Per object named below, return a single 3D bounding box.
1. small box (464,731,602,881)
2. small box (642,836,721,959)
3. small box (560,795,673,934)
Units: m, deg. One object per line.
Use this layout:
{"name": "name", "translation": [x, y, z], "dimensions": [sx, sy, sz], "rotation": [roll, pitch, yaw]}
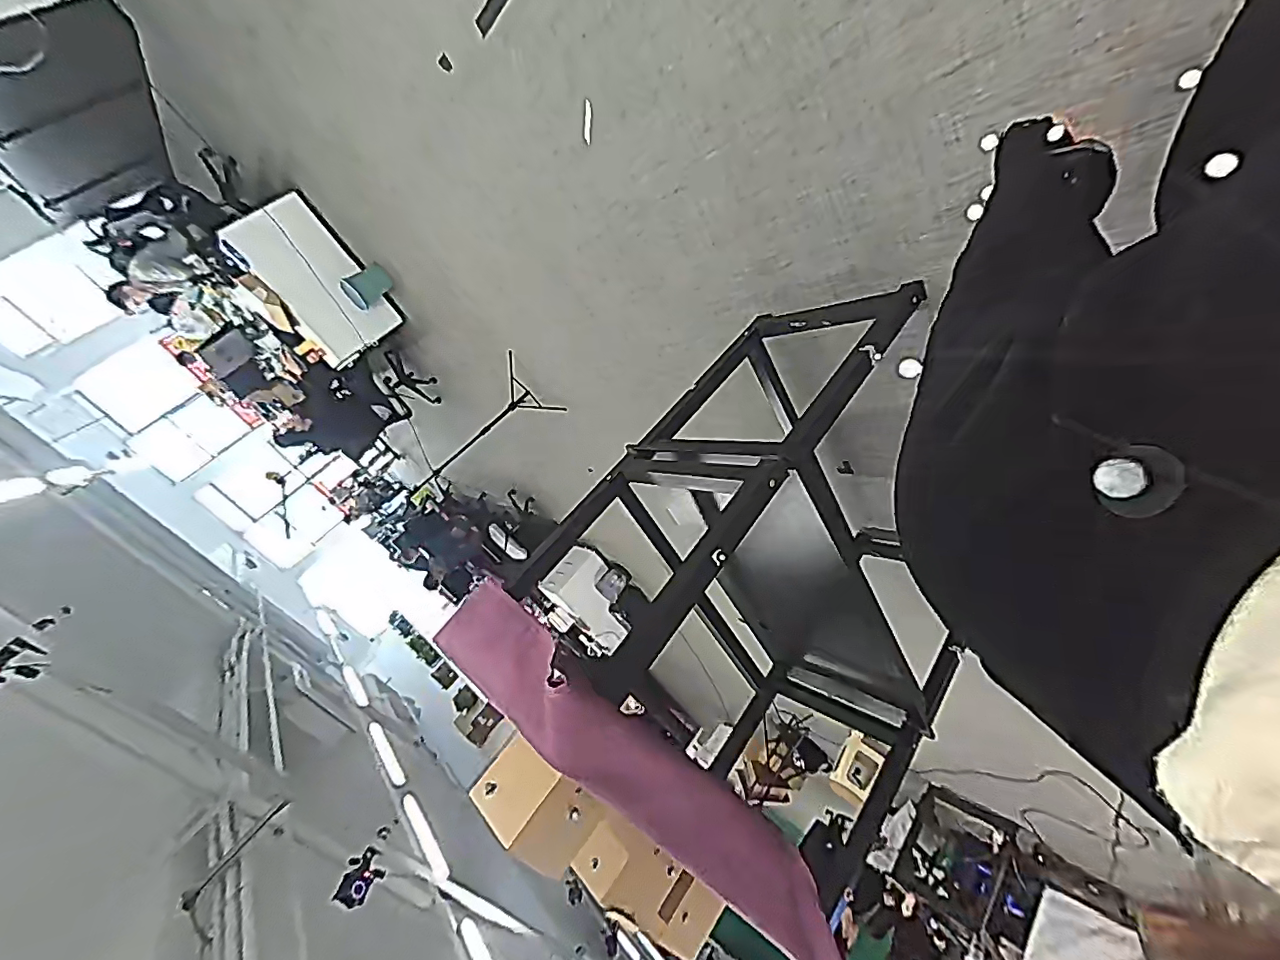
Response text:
{"name": "small box", "translation": [-0.208, 0.635, 1.075], "dimensions": [0.179, 0.176, 0.168], "rotation": [12, 143, 50]}
{"name": "small box", "translation": [0.072, 1.047, 1.364], "dimensions": [0.168, 0.176, 0.179], "rotation": [8, 140, 53]}
{"name": "small box", "translation": [-0.048, 0.872, 1.243], "dimensions": [0.168, 0.176, 0.179], "rotation": [53, 155, -23]}
